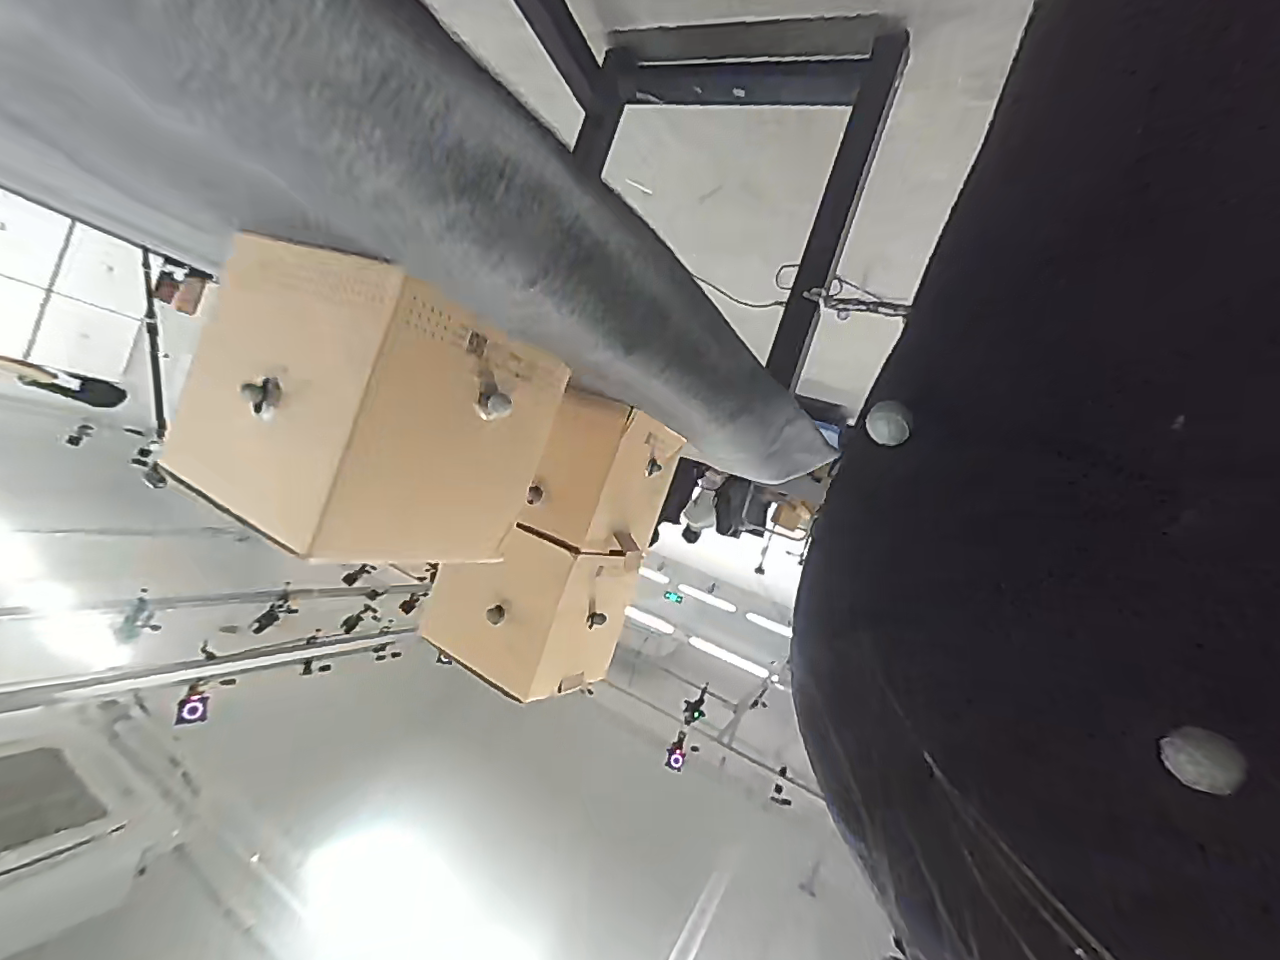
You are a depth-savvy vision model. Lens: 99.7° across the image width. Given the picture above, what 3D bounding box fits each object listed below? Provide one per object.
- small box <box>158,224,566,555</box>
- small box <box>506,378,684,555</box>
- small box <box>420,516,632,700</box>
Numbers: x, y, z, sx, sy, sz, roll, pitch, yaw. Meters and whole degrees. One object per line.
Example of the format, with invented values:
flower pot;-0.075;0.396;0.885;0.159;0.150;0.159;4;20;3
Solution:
small box;-0.183;-0.058;0.388;0.179;0.176;0.168;20;180;25
small box;-0.071;-0.020;0.663;0.179;0.176;0.168;19;179;27
small box;-0.126;0.134;0.656;0.179;0.176;0.168;18;179;28
